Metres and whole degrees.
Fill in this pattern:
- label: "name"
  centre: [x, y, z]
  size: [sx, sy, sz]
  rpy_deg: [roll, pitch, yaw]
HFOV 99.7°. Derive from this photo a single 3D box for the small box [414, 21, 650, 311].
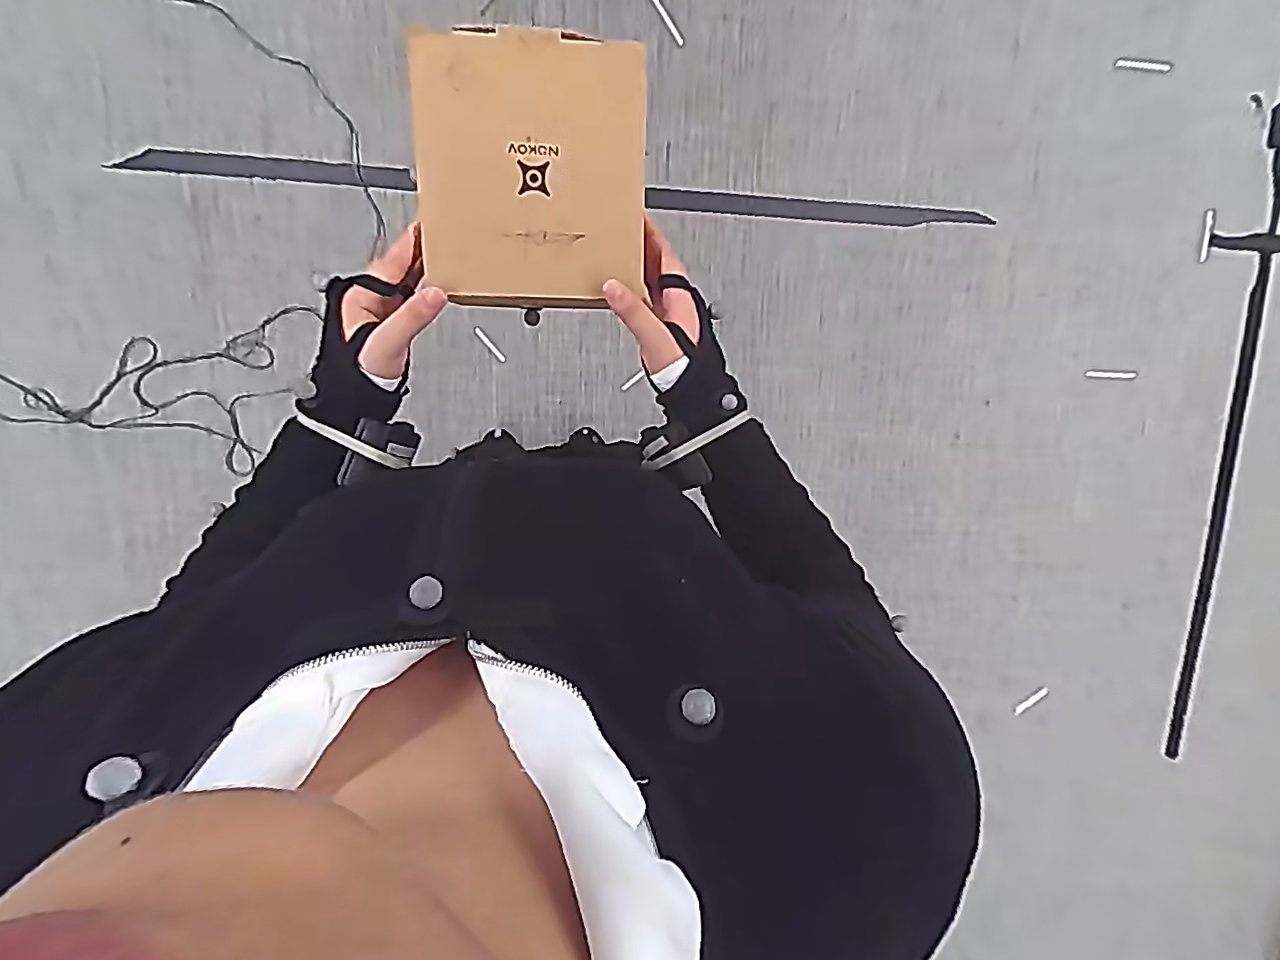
- label: "small box"
  centre: [-0.086, -0.246, 0.472]
  size: [0.168, 0.176, 0.179]
  rpy_deg: [-1, 105, -7]
